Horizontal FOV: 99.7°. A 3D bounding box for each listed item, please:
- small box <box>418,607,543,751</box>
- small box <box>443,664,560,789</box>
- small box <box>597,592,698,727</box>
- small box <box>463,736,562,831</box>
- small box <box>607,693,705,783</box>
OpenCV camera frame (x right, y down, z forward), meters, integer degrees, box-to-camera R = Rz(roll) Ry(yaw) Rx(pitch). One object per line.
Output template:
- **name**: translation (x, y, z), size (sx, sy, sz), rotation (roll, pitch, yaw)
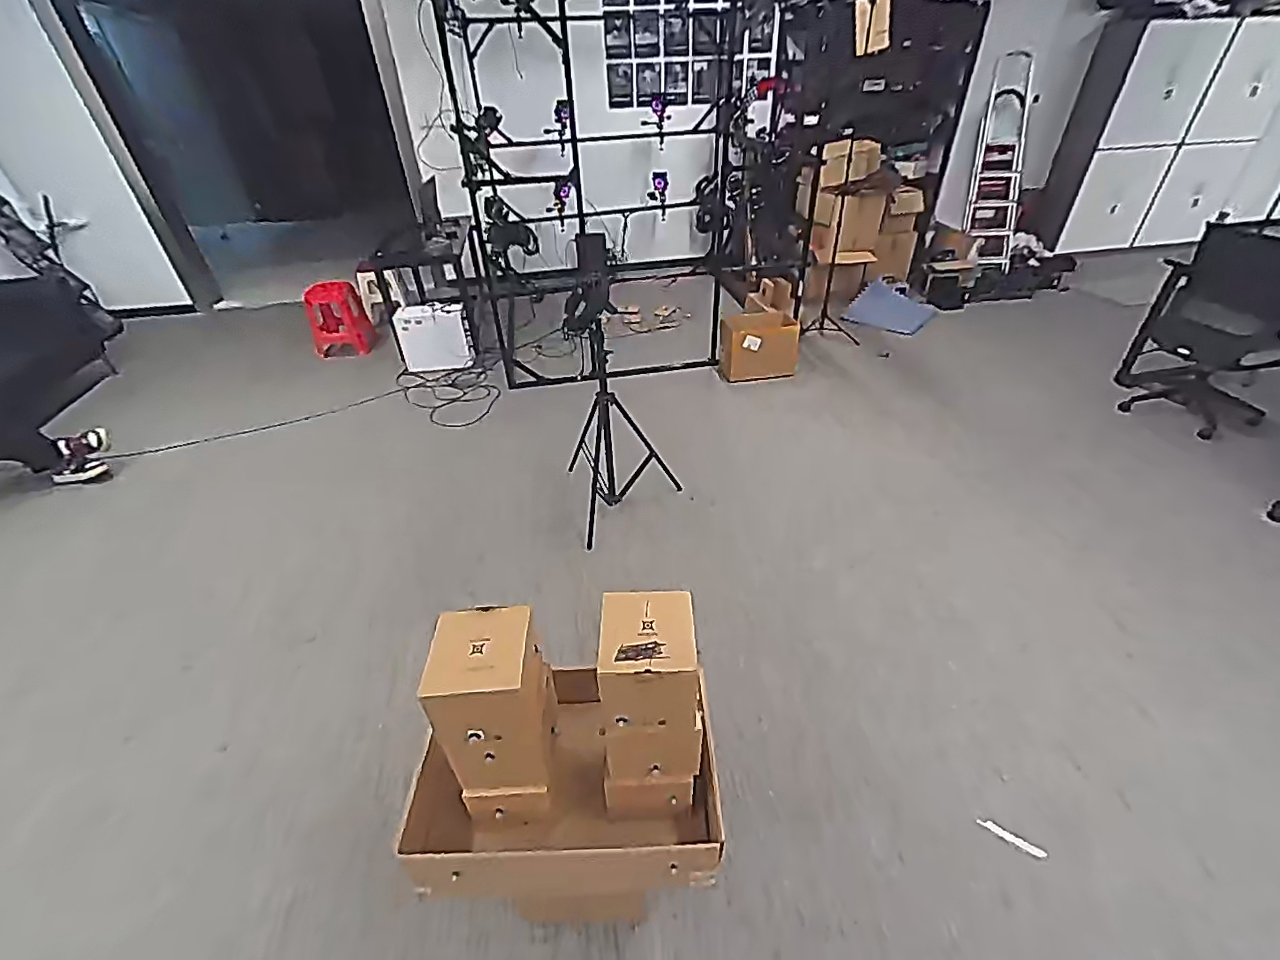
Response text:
- **small box**: translation (-0.269, 0.351, 0.960), size (0.168, 0.176, 0.179), rotation (-4, 35, -2)
- **small box**: translation (-0.260, 0.483, 1.057), size (0.179, 0.176, 0.168), rotation (-1, 36, -1)
- **small box**: translation (0.018, 0.325, 0.973), size (0.168, 0.176, 0.179), rotation (-1, 36, 1)
- **small box**: translation (-0.260, 0.620, 1.148), size (0.168, 0.176, 0.179), rotation (-2, 36, -2)
- **small box**: translation (0.024, 0.467, 1.058), size (0.179, 0.176, 0.168), rotation (-3, 36, -3)
